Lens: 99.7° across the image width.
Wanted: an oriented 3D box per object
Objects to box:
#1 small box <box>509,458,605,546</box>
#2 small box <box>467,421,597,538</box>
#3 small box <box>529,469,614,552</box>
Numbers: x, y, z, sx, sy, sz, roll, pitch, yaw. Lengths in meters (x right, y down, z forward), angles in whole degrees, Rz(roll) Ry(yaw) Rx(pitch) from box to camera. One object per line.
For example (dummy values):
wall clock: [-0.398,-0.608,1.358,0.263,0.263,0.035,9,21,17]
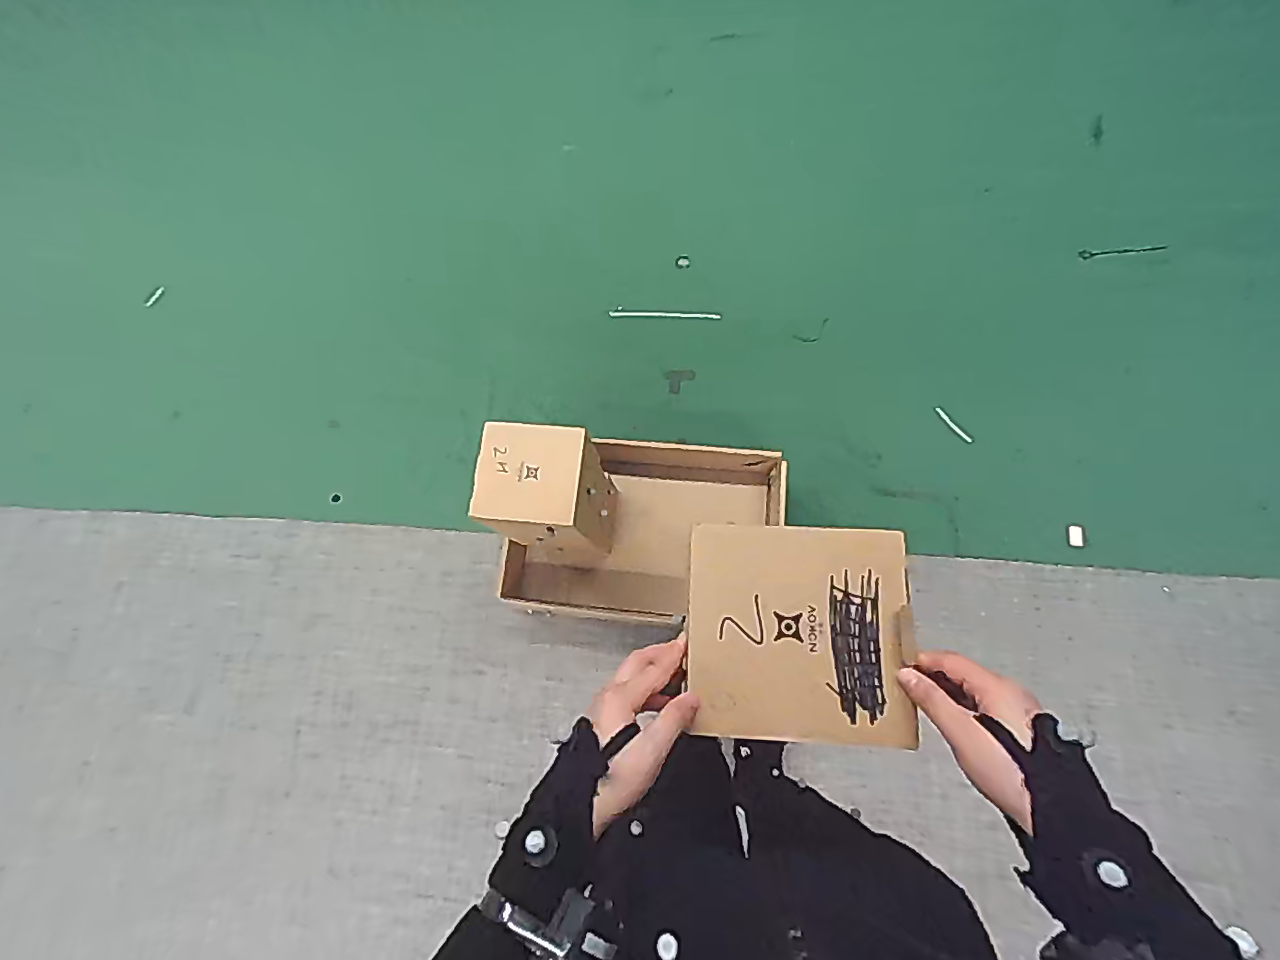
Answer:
small box: [-0.175,0.042,1.111,0.179,0.176,0.168,5,78,4]
small box: [-0.177,0.006,0.950,0.179,0.176,0.168,4,76,6]
small box: [-0.156,0.072,1.272,0.168,0.176,0.179,4,77,5]
